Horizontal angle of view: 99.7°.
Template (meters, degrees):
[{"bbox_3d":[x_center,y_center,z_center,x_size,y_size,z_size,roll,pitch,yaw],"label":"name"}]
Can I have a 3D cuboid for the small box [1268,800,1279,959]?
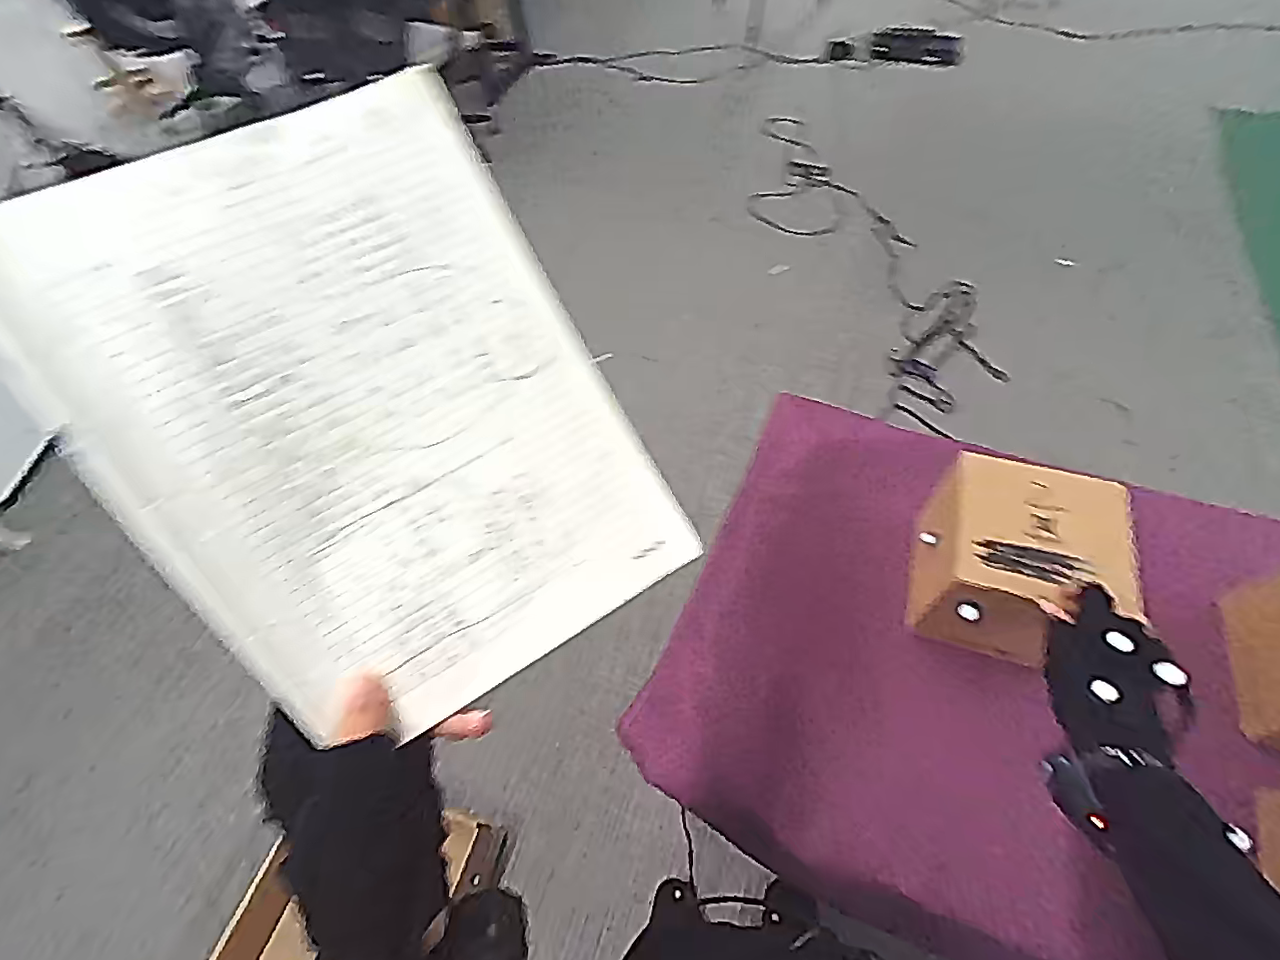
[{"bbox_3d":[0.674,0.375,0.433,0.168,0.176,0.179,21,61,19],"label":"small box"}]

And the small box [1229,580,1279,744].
[{"bbox_3d":[0.766,0.197,0.544,0.168,0.176,0.179,16,59,16],"label":"small box"}]
